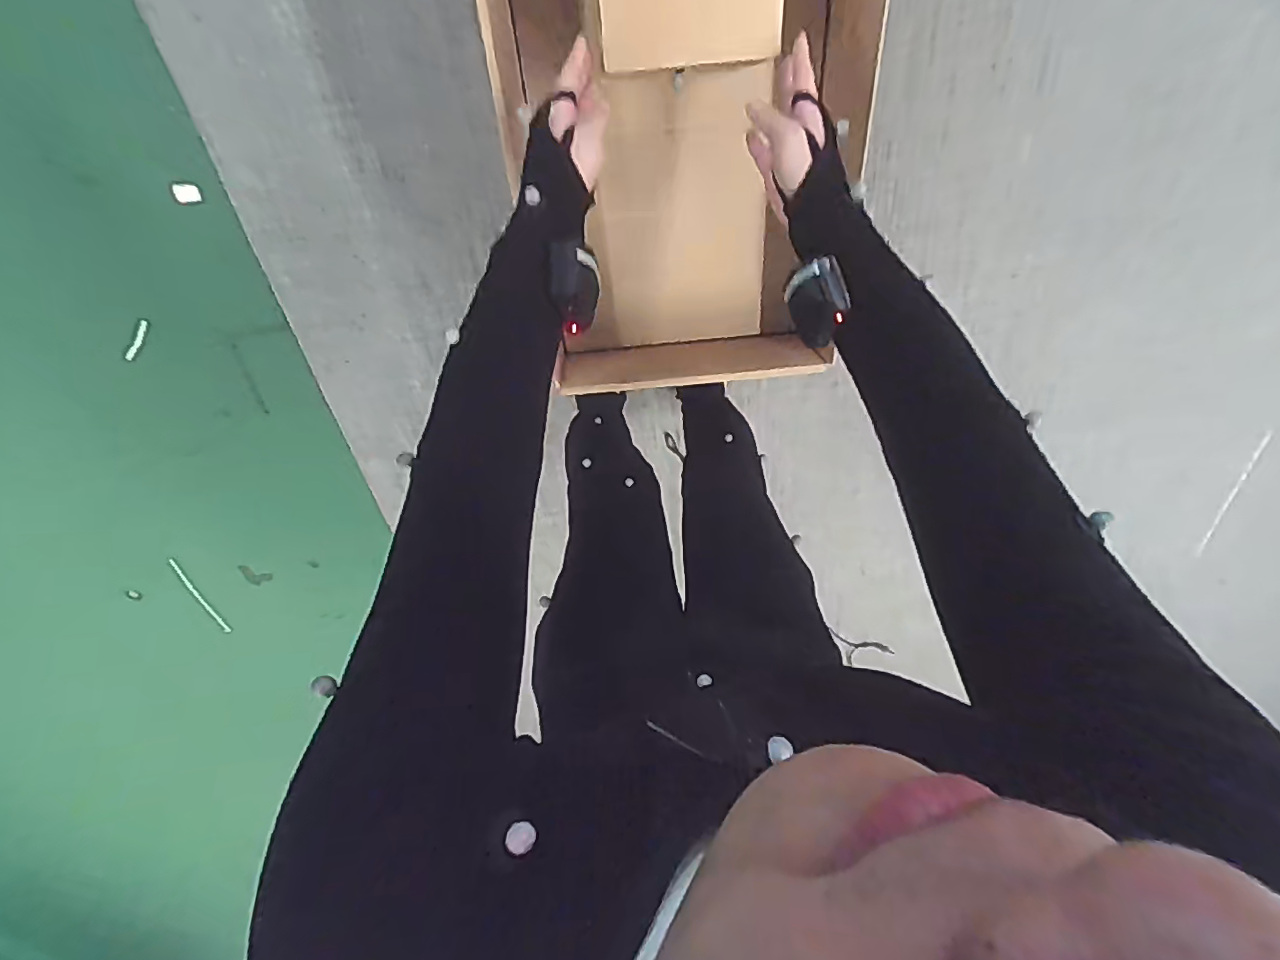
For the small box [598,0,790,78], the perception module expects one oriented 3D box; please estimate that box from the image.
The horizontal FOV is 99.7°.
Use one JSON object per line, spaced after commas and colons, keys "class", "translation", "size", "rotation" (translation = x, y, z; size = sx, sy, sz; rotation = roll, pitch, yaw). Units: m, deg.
{"class": "small box", "translation": [0.044, -0.513, 0.540], "size": [0.179, 0.176, 0.168], "rotation": [-5, 125, 0]}
